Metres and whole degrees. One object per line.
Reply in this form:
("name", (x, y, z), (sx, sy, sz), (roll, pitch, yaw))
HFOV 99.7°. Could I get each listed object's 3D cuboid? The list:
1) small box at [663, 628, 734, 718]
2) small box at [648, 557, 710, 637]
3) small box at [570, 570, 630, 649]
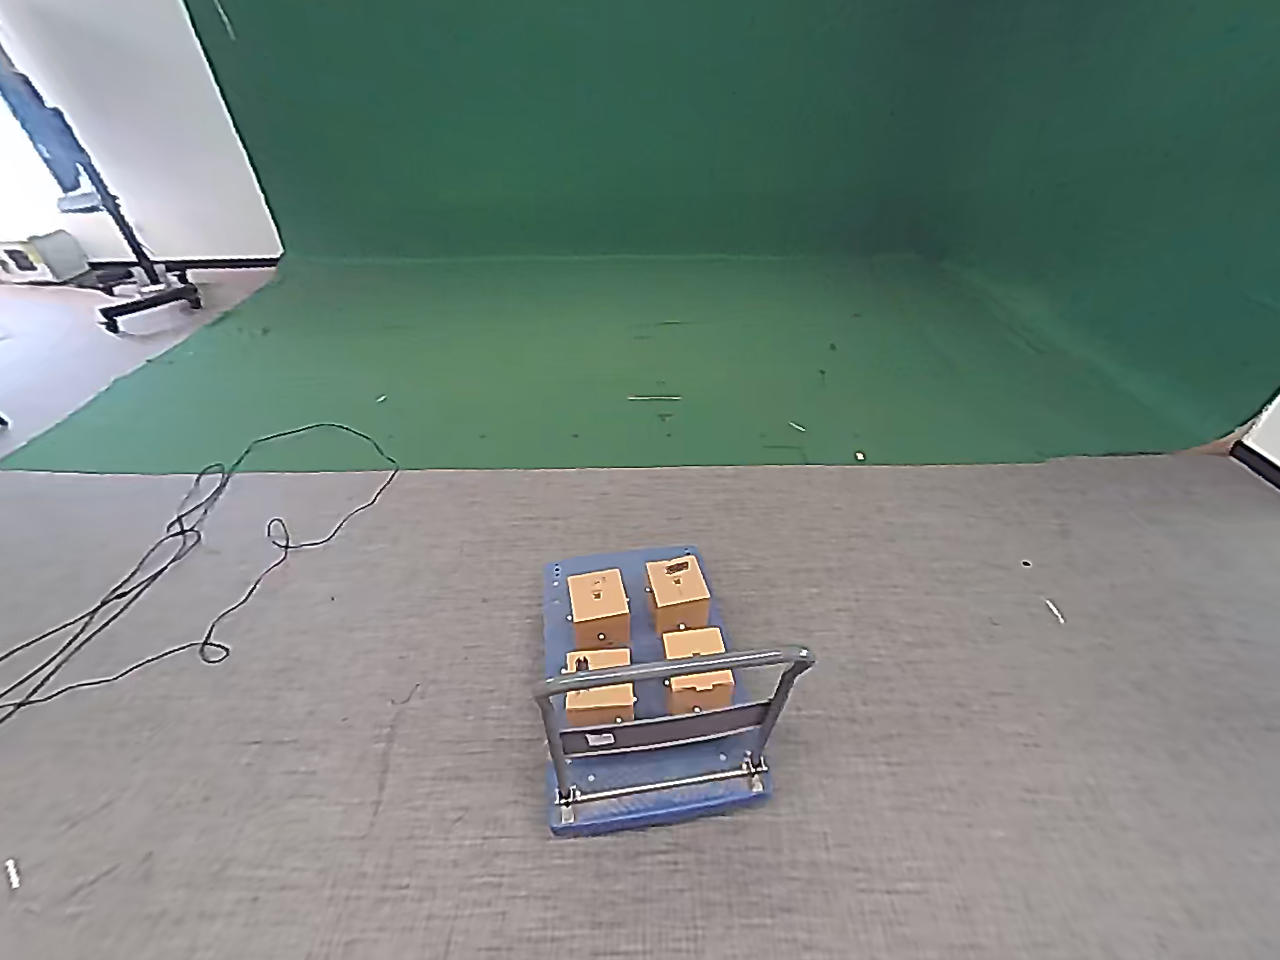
("small box", (0.161, 0.551, 1.546), (0.168, 0.176, 0.179), (-5, 41, -6))
("small box", (0.120, 0.378, 1.749), (0.168, 0.176, 0.179), (-9, 42, -8))
("small box", (-0.126, 0.415, 1.710), (0.168, 0.176, 0.179), (-8, 41, -9))
